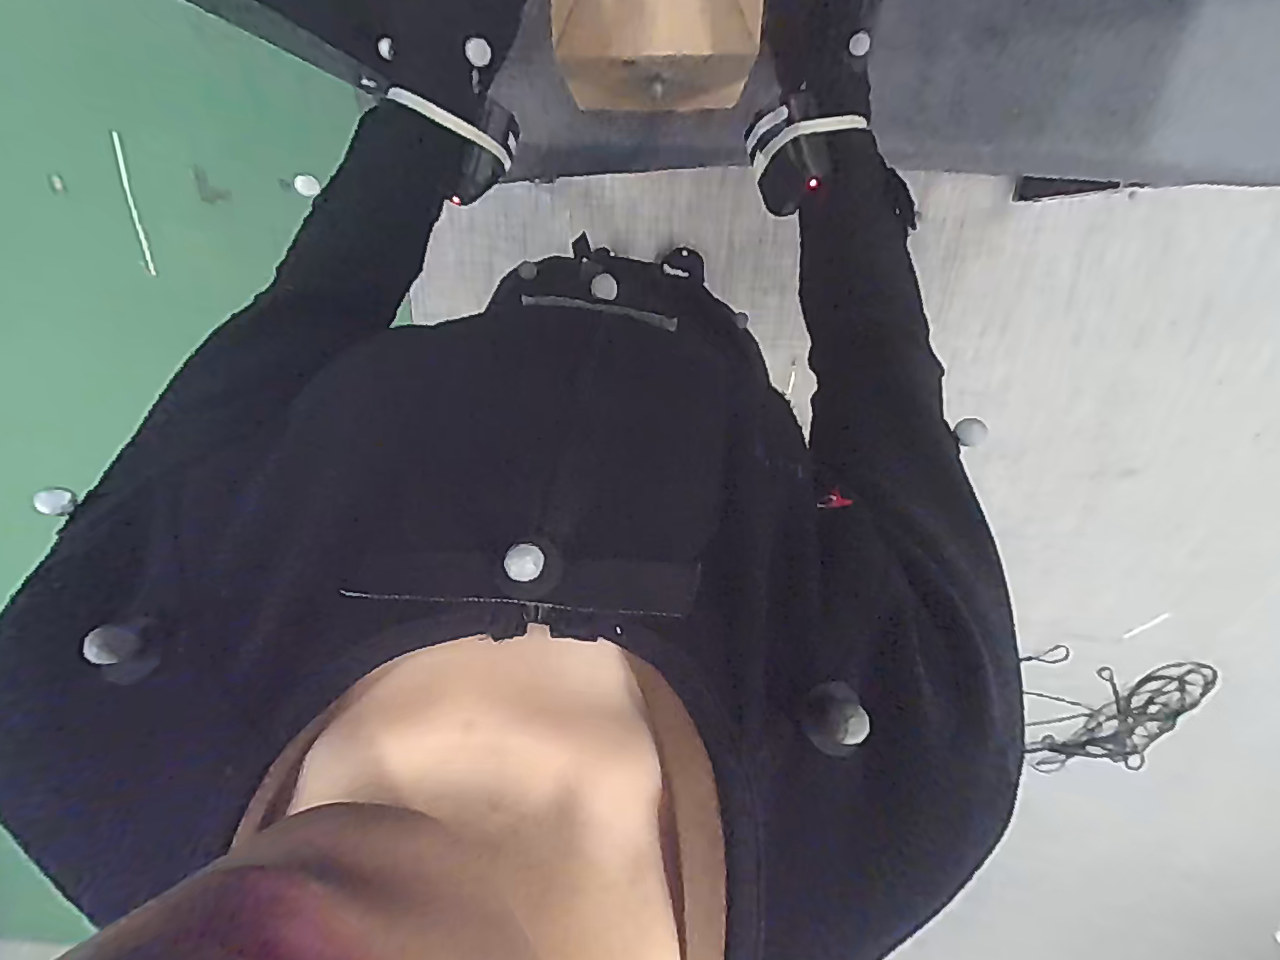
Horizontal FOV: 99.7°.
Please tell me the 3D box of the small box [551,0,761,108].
[{"bbox_3d":[0.015,-0.448,0.469,0.168,0.176,0.179,1,111,2],"label":"small box"}]
